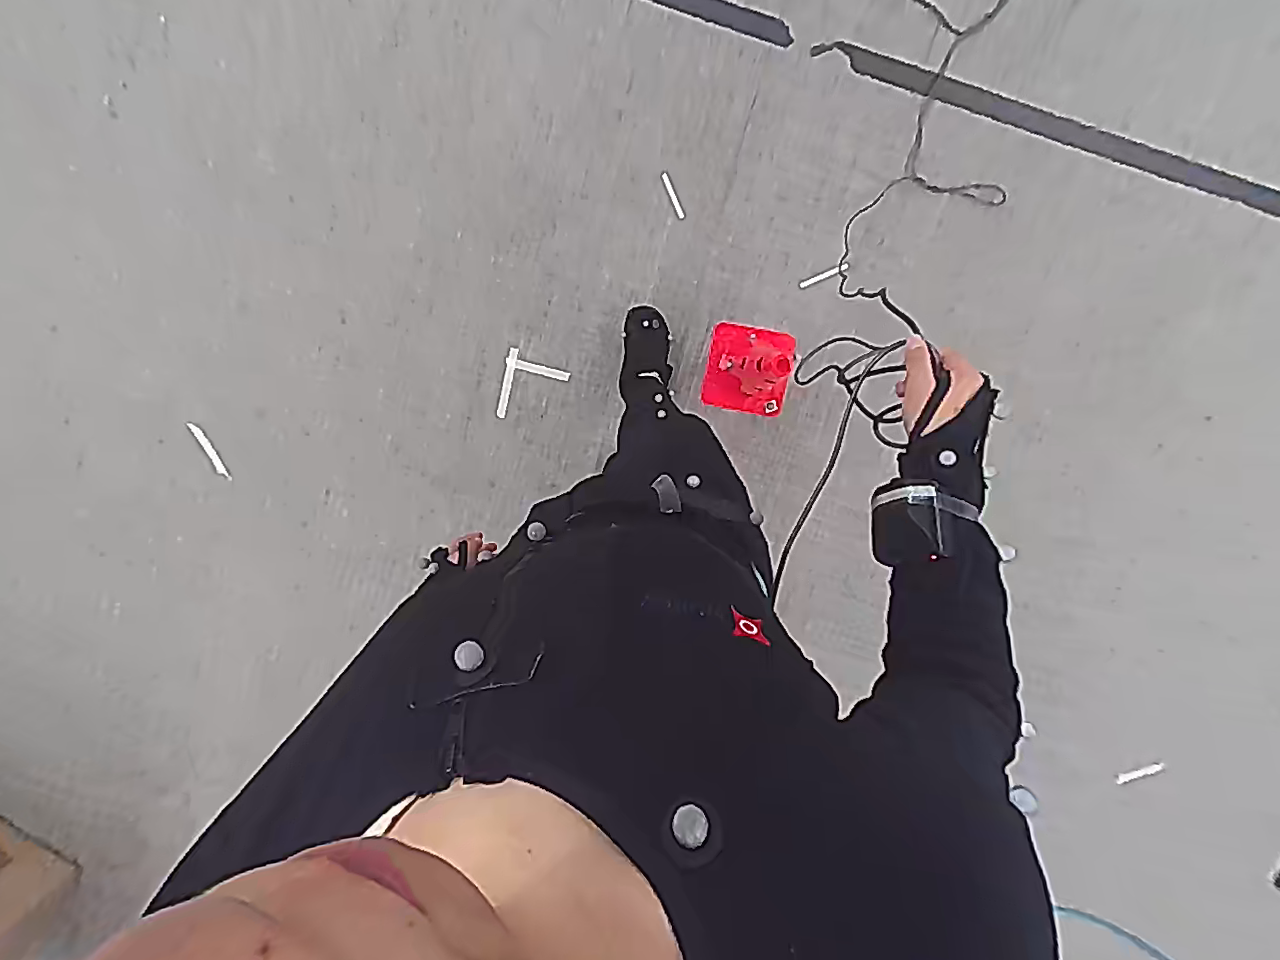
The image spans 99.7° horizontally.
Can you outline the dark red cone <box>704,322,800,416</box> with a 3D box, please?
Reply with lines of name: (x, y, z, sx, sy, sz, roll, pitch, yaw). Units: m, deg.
dark red cone: (0.252, -0.234, 1.097, 0.202, 0.394, 0.201, 9, 99, 0)
